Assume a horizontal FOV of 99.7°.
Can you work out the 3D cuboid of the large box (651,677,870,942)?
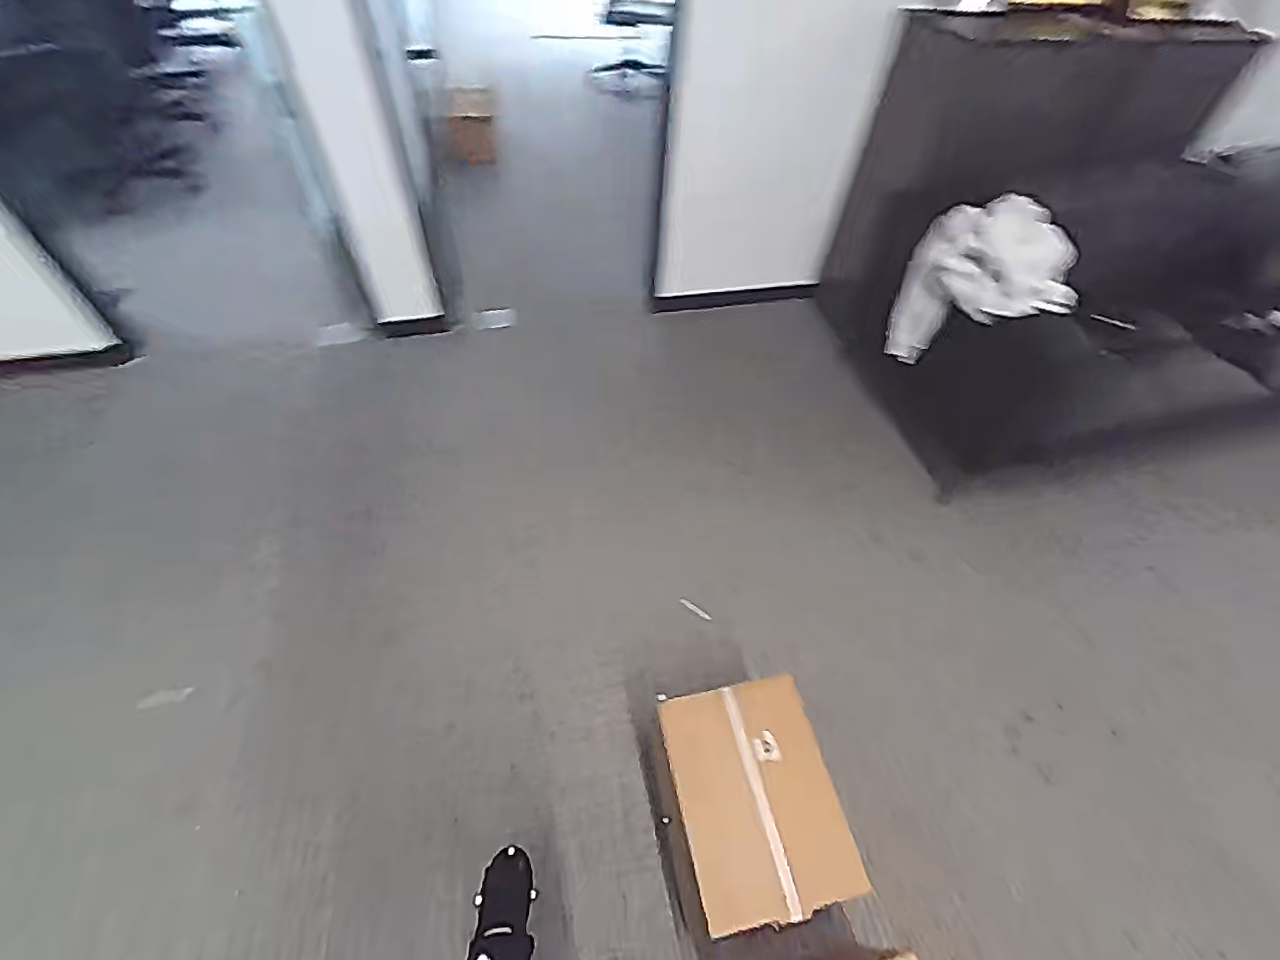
[{"bbox_3d":[0.218,0.703,1.170,0.320,0.320,0.408,-7,50,-10],"label":"large box"}]
